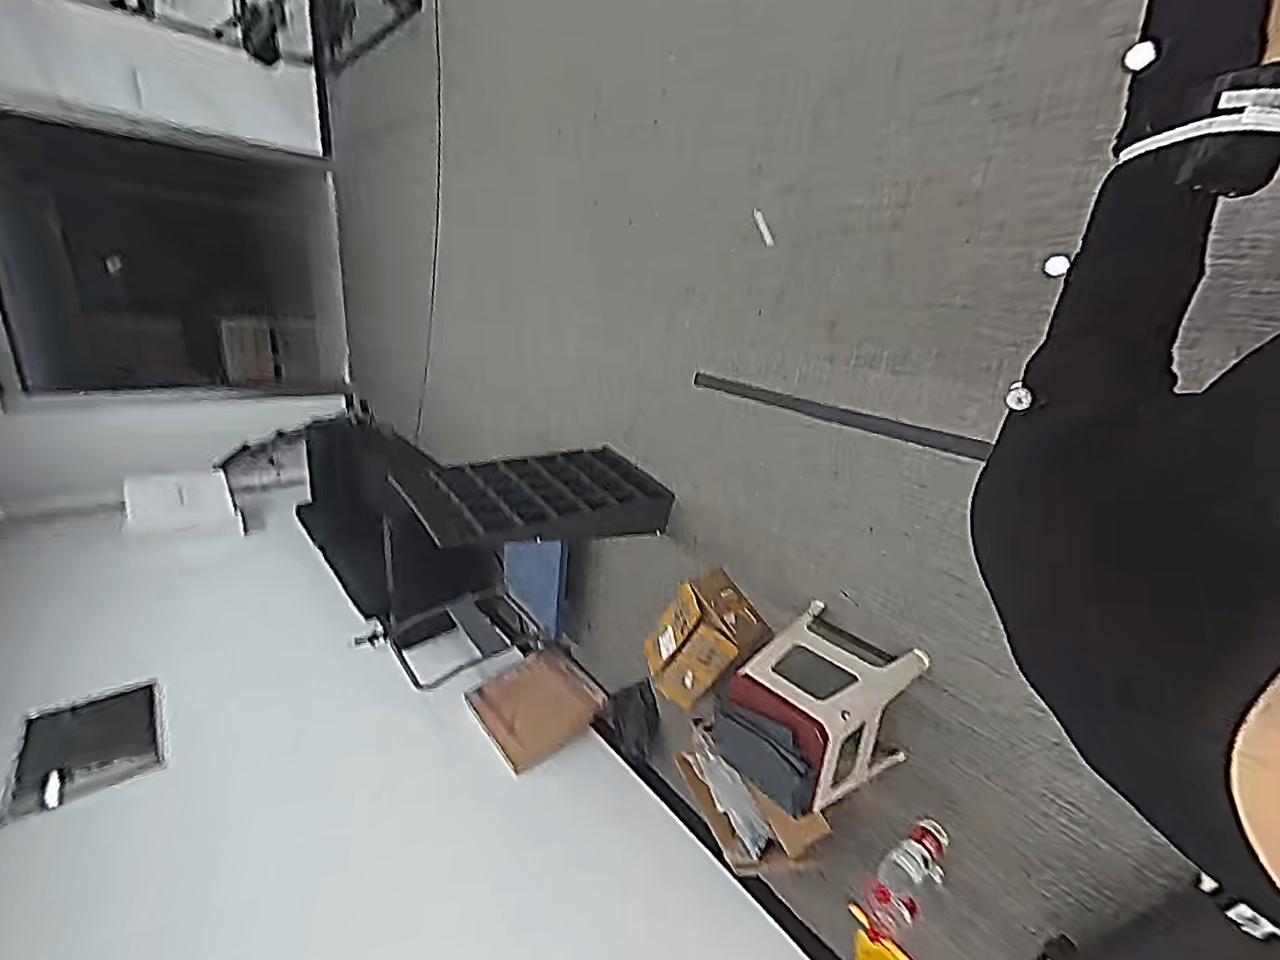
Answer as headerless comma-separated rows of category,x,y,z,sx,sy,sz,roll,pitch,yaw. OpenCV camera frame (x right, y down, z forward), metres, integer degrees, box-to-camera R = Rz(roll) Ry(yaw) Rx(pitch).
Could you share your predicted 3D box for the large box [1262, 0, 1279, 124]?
large box,0.648,-0.398,0.261,0.408,0.320,0.320,17,116,50
